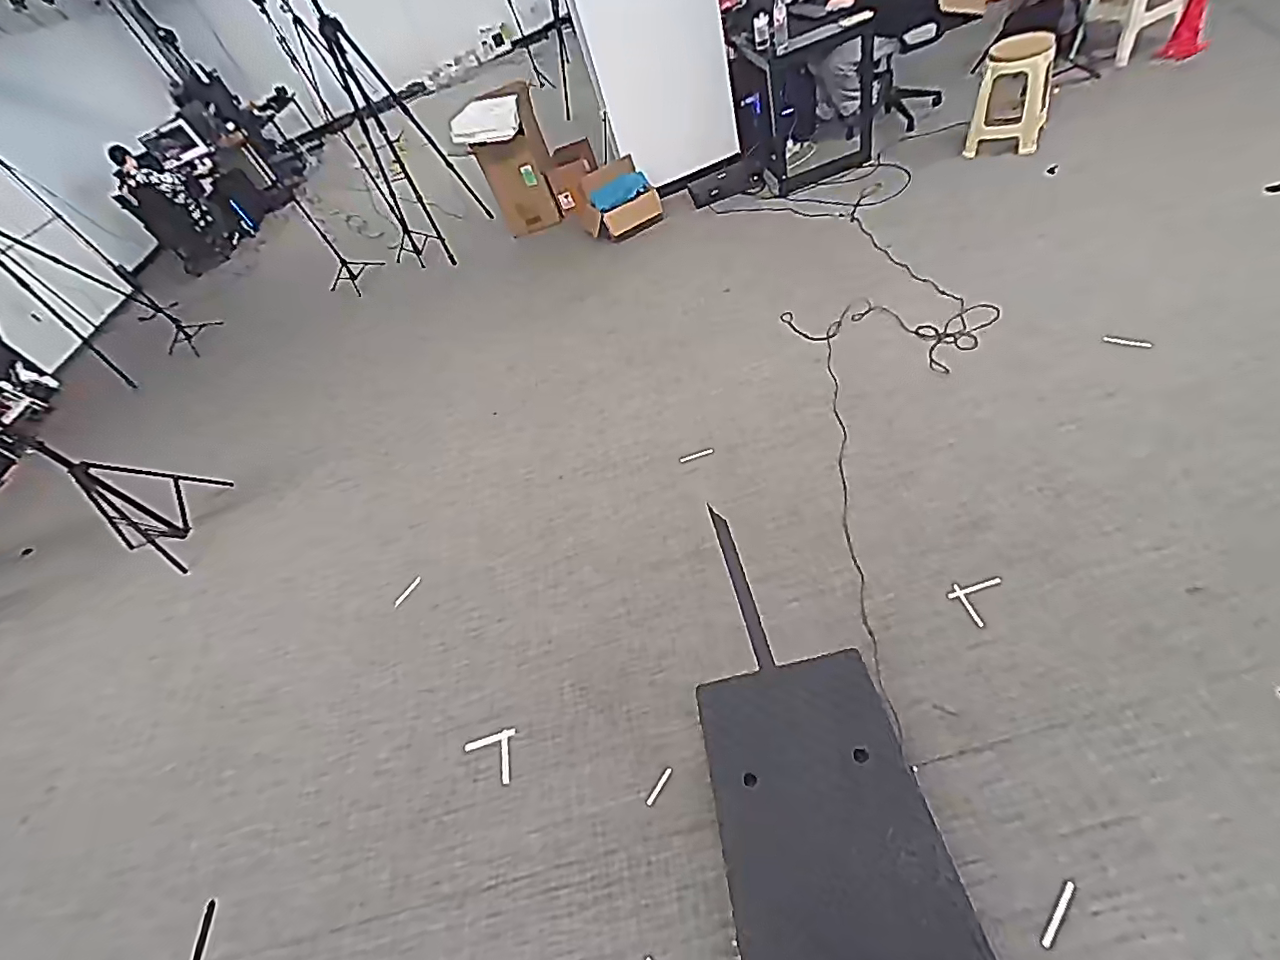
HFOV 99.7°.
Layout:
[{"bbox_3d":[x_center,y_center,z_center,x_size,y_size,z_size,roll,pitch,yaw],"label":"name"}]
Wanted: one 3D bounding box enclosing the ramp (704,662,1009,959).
[{"bbox_3d":[0.459,0.895,1.200,0.509,0.206,0.991,-20,45,7],"label":"ramp"}]
